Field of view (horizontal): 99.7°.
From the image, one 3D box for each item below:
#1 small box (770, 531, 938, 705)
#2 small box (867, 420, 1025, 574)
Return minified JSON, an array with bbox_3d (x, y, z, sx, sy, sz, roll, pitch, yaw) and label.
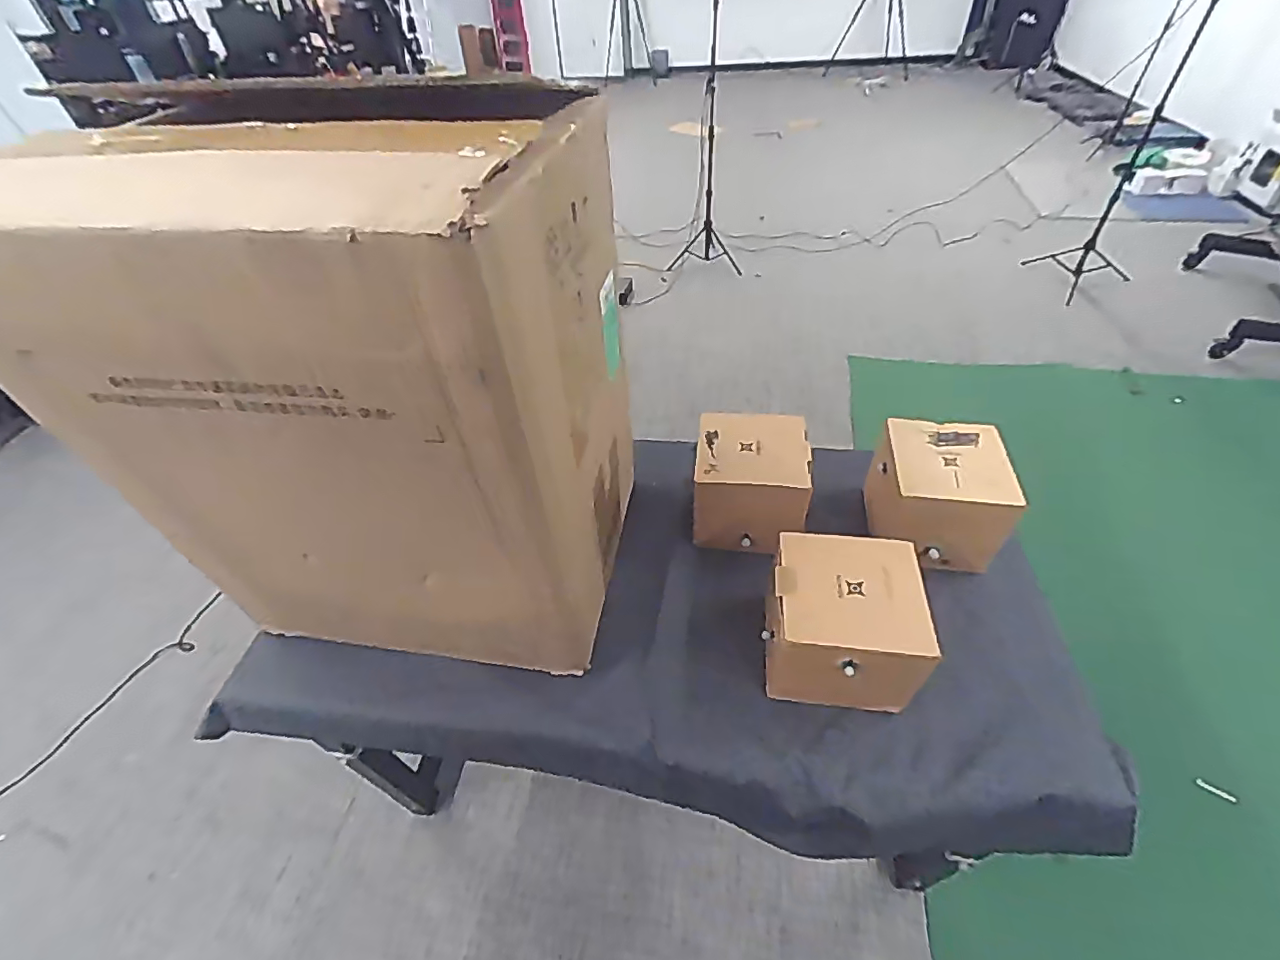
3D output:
[{"bbox_3d":[0.273,0.190,0.739,0.179,0.176,0.168,4,47,8],"label":"small box"},{"bbox_3d":[0.479,0.026,0.882,0.168,0.176,0.179,5,47,10],"label":"small box"}]
